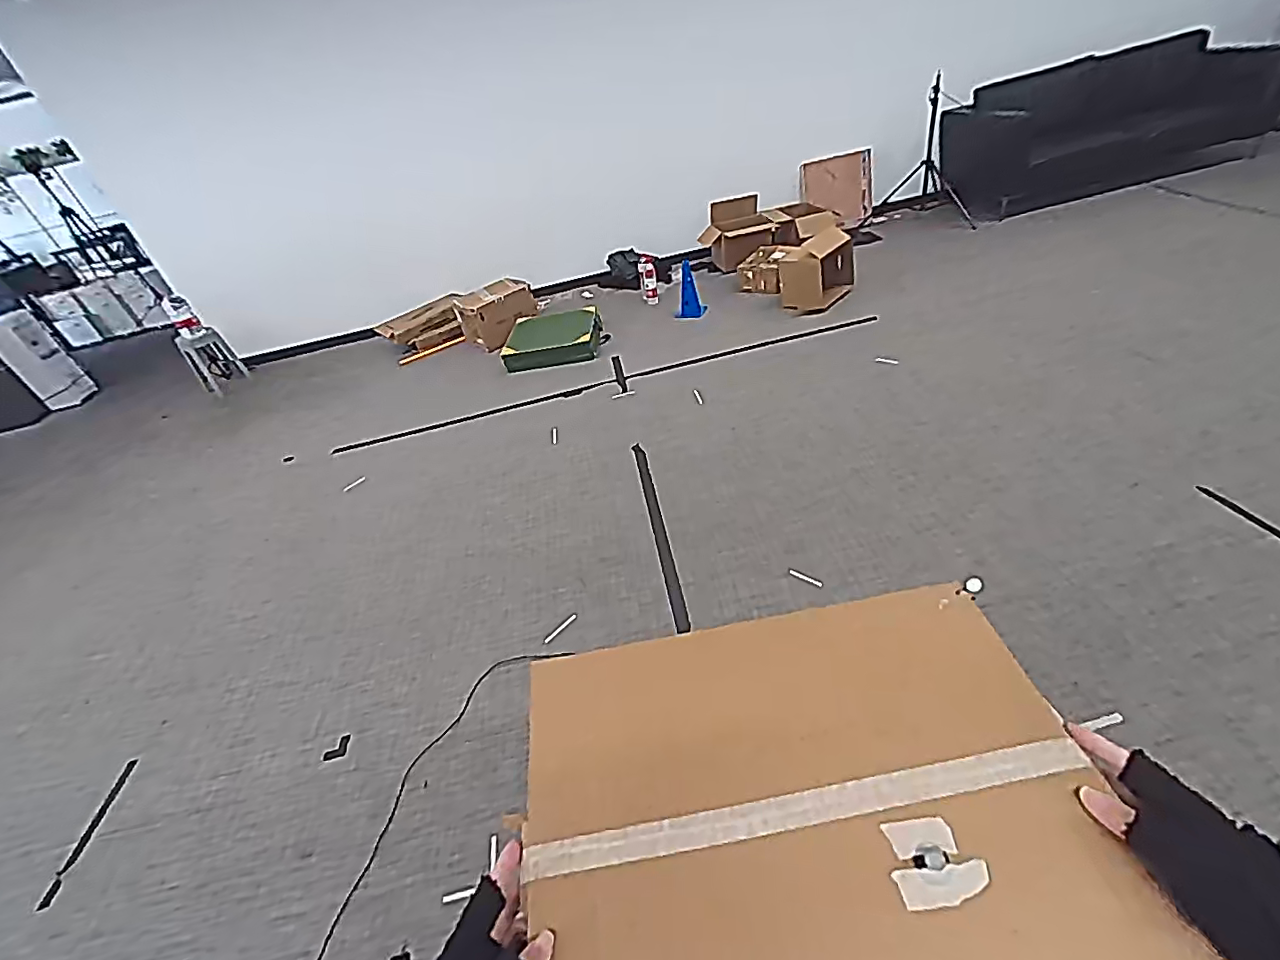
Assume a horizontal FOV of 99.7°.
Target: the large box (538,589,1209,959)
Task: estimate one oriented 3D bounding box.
[{"bbox_3d":[0.138,0.350,0.499,0.408,0.320,0.320,-11,43,-1],"label":"large box"}]
